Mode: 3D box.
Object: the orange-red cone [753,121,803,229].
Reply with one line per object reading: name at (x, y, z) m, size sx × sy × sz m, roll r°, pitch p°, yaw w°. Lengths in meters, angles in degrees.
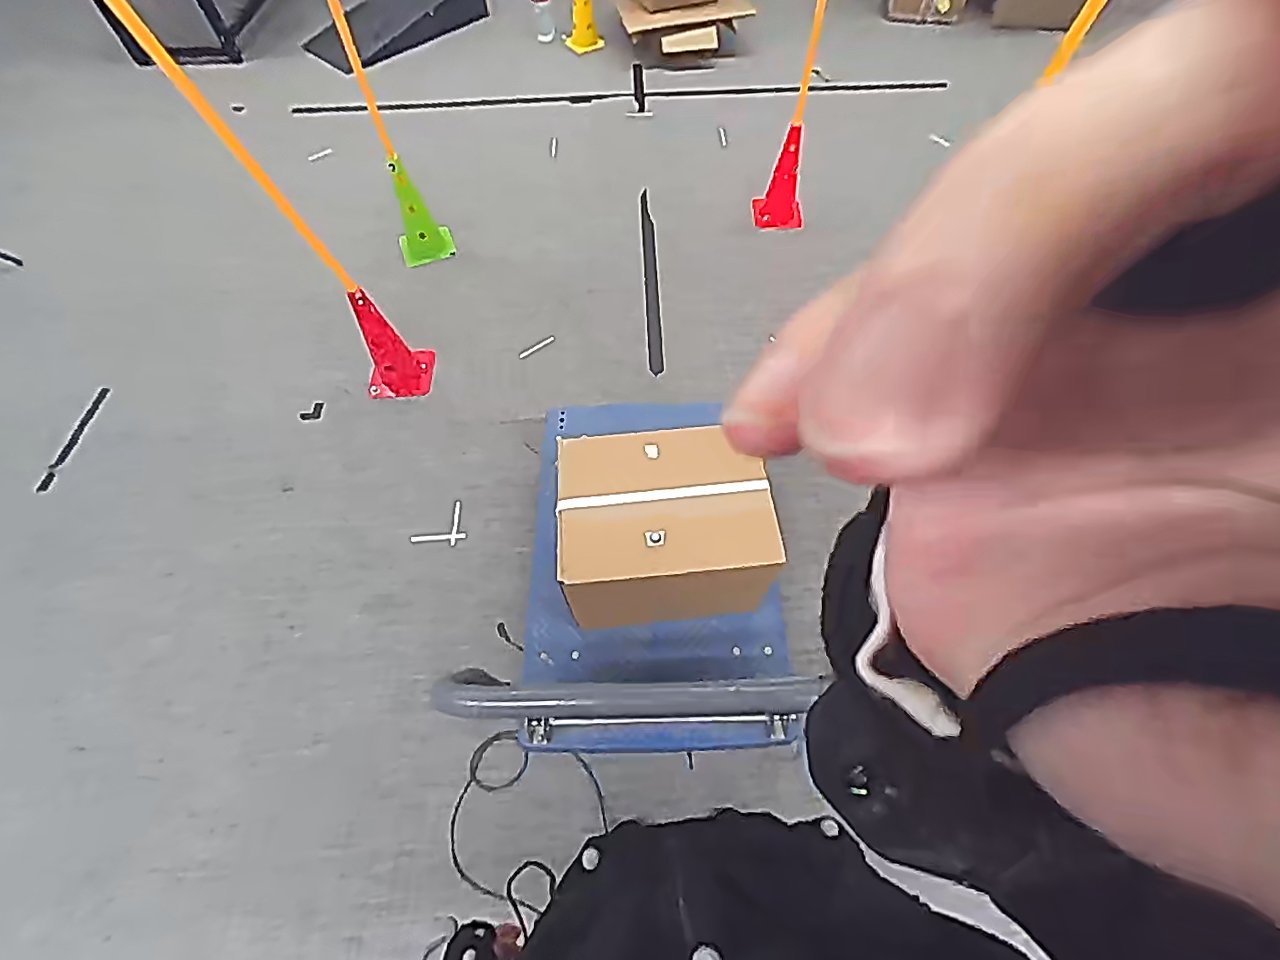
orange-red cone at (0.571, -1.194, 2.096) m, size 0.199 × 0.360 × 0.198 m, roll 4°, pitch 60°, yaw 2°
